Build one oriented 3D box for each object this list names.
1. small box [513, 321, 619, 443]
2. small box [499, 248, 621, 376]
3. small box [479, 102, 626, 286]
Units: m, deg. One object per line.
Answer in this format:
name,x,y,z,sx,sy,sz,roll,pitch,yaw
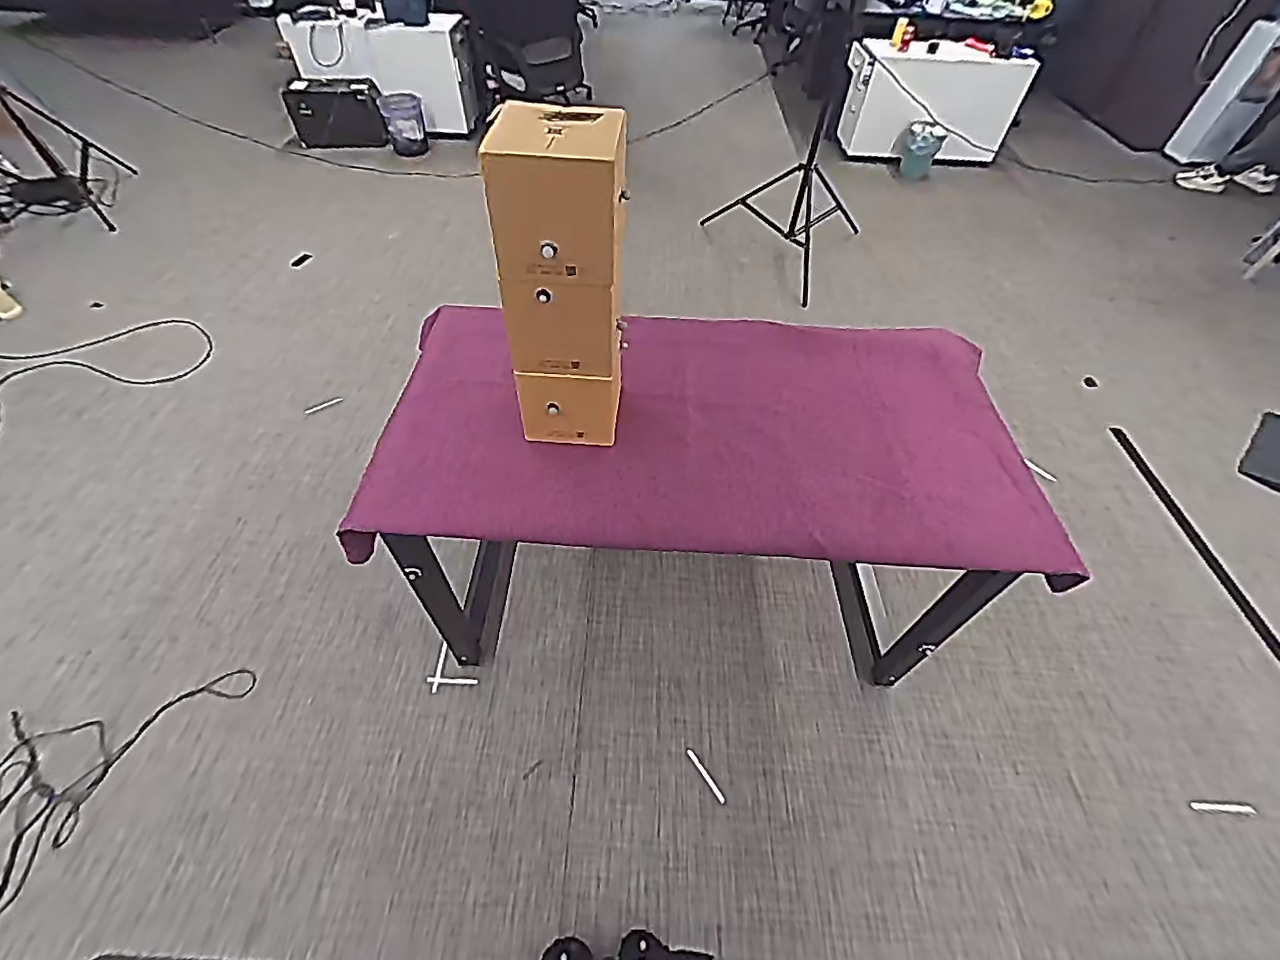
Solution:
small box,-0.127,-0.186,1.006,0.168,0.176,0.179,4,50,0
small box,-0.121,-0.294,0.883,0.168,0.176,0.179,3,50,0
small box,-0.110,-0.396,0.754,0.168,0.176,0.179,4,51,0
